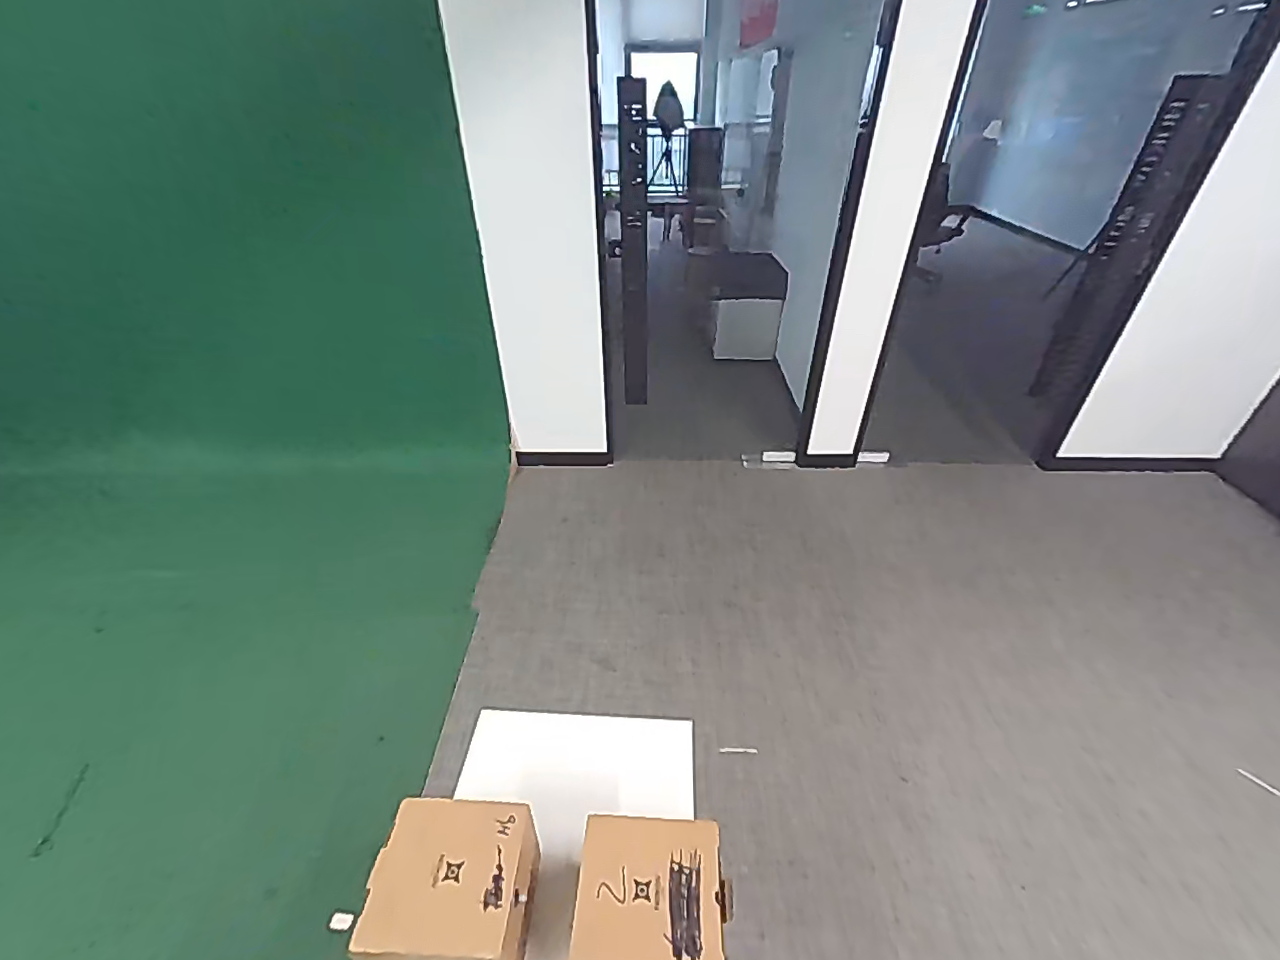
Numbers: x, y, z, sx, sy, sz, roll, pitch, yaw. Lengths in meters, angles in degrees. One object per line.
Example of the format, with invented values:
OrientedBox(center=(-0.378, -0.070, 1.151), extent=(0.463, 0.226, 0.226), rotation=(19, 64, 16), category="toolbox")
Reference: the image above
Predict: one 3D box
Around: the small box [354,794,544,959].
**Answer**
OrientedBox(center=(-0.236, 0.545, 0.719), extent=(0.179, 0.176, 0.168), rotation=(2, 37, 2), category="small box")
